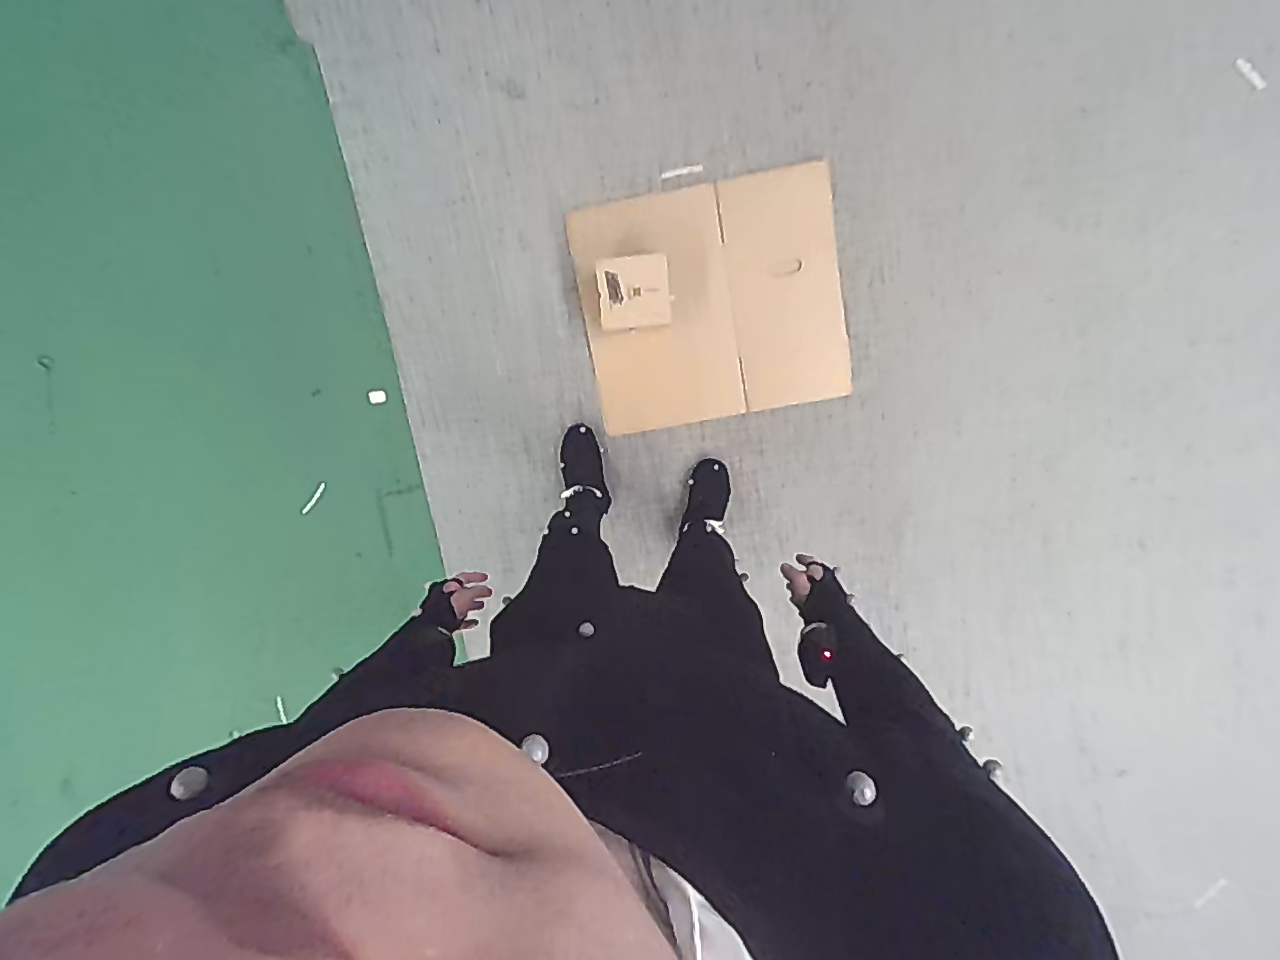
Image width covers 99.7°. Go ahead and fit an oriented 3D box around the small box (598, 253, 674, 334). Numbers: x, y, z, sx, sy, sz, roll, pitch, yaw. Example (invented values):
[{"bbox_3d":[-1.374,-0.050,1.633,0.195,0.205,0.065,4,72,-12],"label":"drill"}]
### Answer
[{"bbox_3d":[-0.005,-0.472,1.386,0.179,0.176,0.168,-5,101,3],"label":"small box"}]
